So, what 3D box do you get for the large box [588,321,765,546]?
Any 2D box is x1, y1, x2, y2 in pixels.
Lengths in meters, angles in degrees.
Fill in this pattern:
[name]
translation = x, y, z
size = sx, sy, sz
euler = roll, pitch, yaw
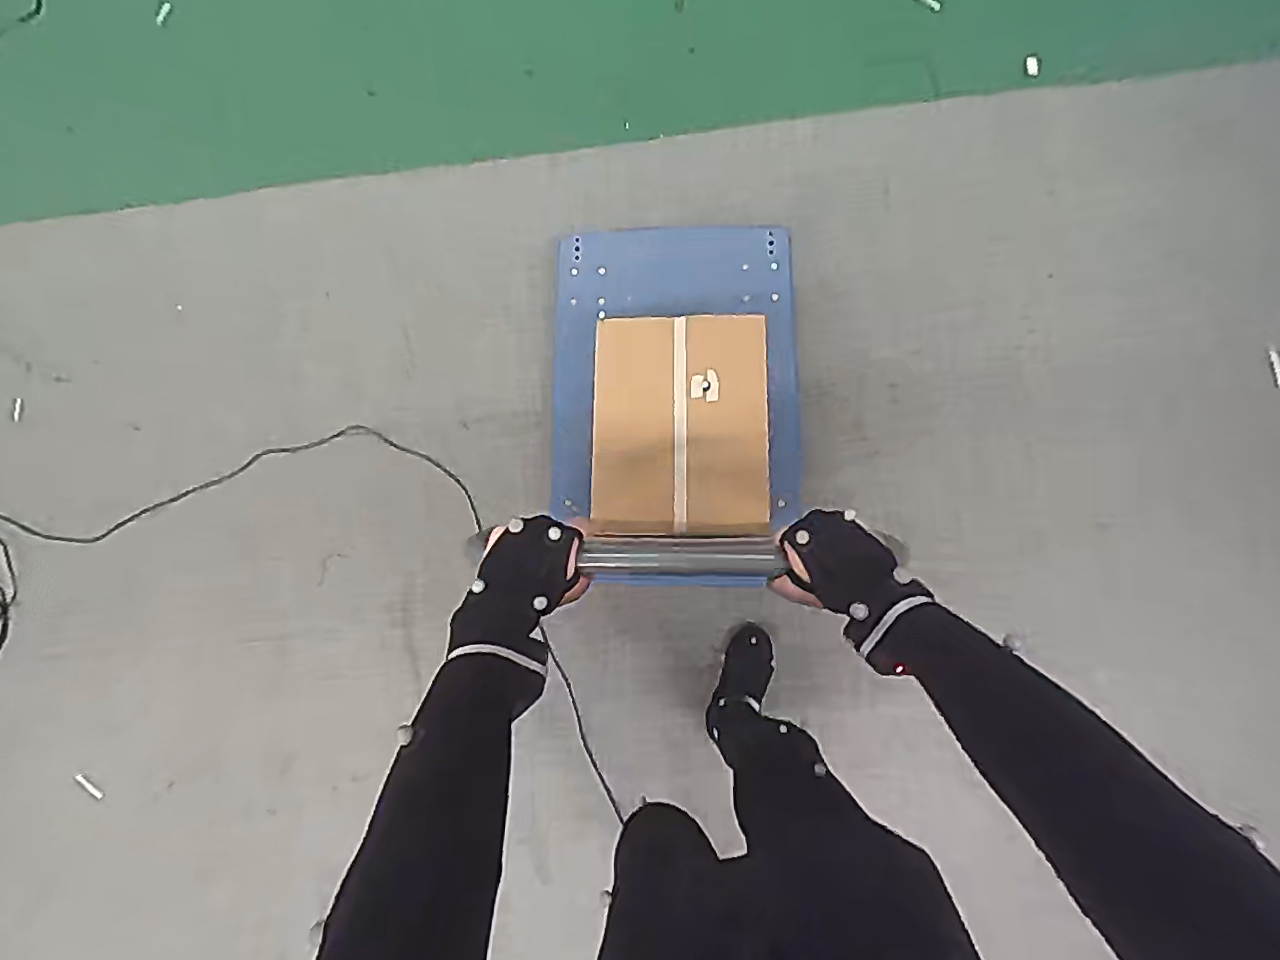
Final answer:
[large box]
translation = 0.074, -0.072, 1.121
size = 0.320, 0.320, 0.408
euler = 0, 81, 4
